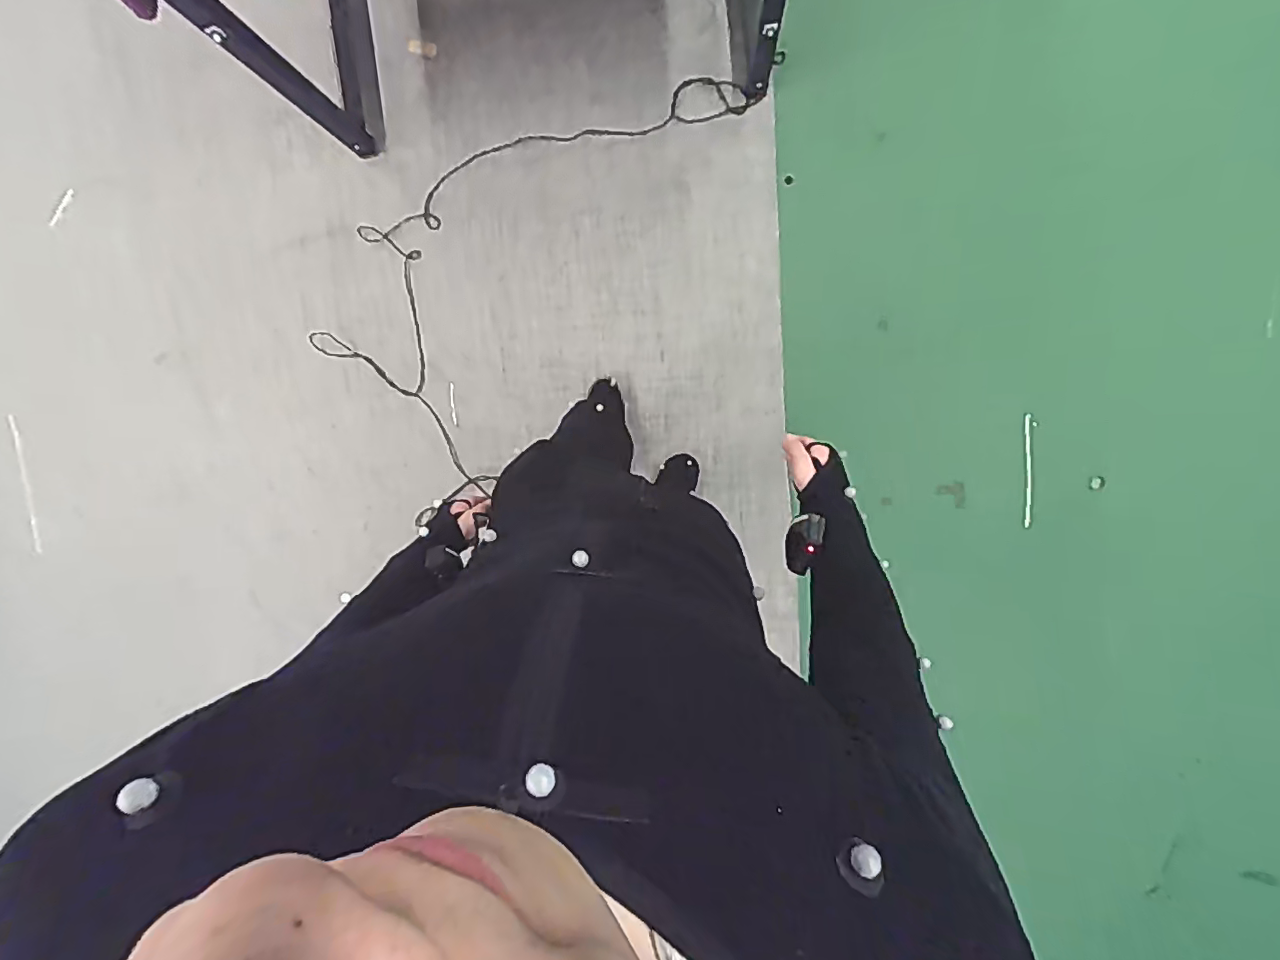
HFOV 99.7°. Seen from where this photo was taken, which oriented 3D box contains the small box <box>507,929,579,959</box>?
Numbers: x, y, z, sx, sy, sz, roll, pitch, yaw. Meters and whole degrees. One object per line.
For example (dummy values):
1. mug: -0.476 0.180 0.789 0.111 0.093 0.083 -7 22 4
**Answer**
1. small box: -0.246 1.234 1.297 0.168 0.176 0.179 3 98 6
